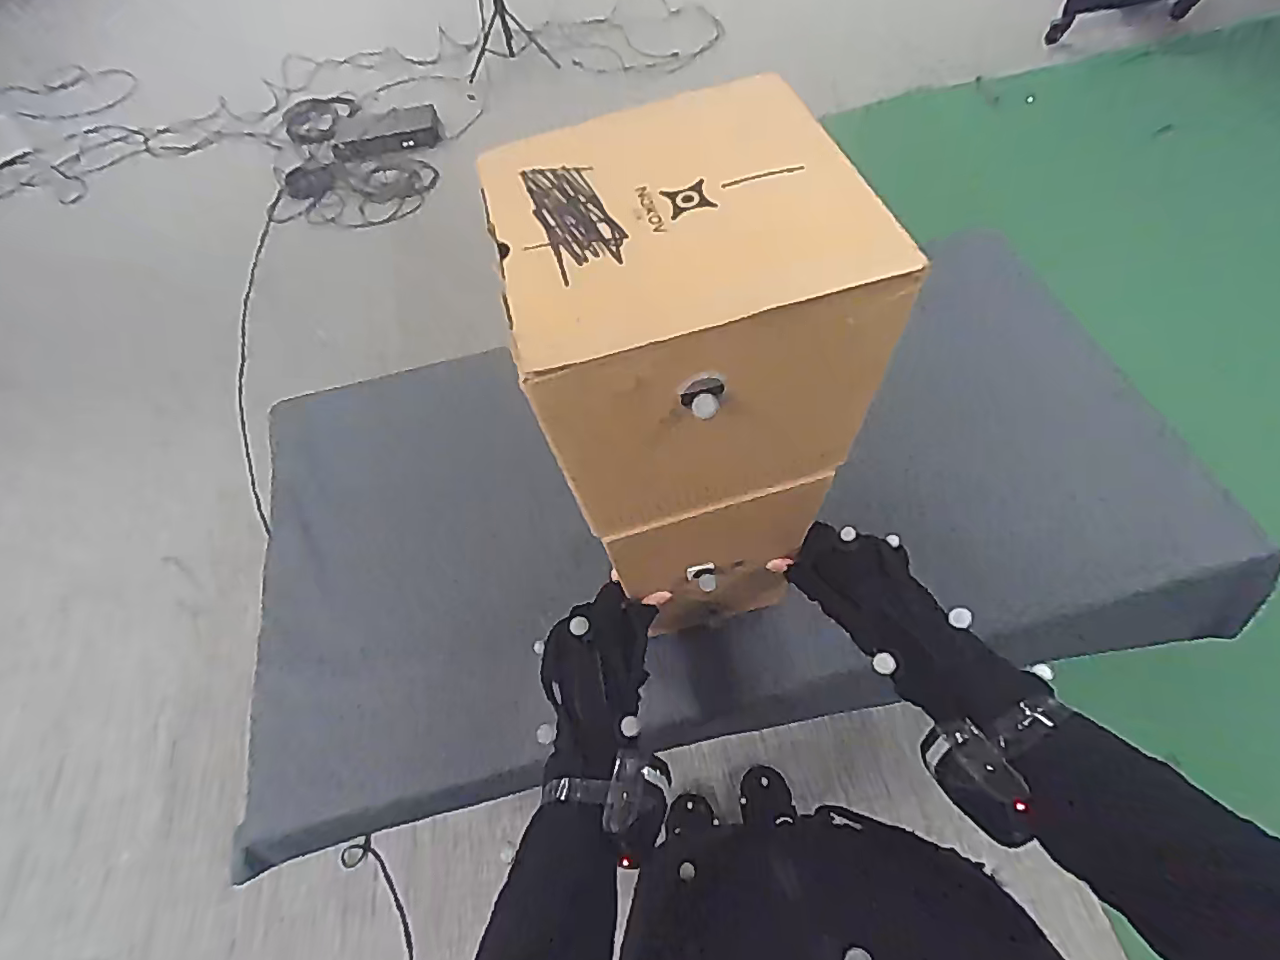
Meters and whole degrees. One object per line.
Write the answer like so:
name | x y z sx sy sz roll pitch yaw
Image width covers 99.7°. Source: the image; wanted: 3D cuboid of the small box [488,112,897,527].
small box | 0.023 -0.086 0.347 0.179 0.176 0.168 -16 62 -2

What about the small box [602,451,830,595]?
small box | 0.039 -0.020 0.478 0.168 0.176 0.179 -17 63 -2

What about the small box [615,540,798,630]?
small box | 0.056 0.057 0.620 0.179 0.176 0.168 -14 62 -3
